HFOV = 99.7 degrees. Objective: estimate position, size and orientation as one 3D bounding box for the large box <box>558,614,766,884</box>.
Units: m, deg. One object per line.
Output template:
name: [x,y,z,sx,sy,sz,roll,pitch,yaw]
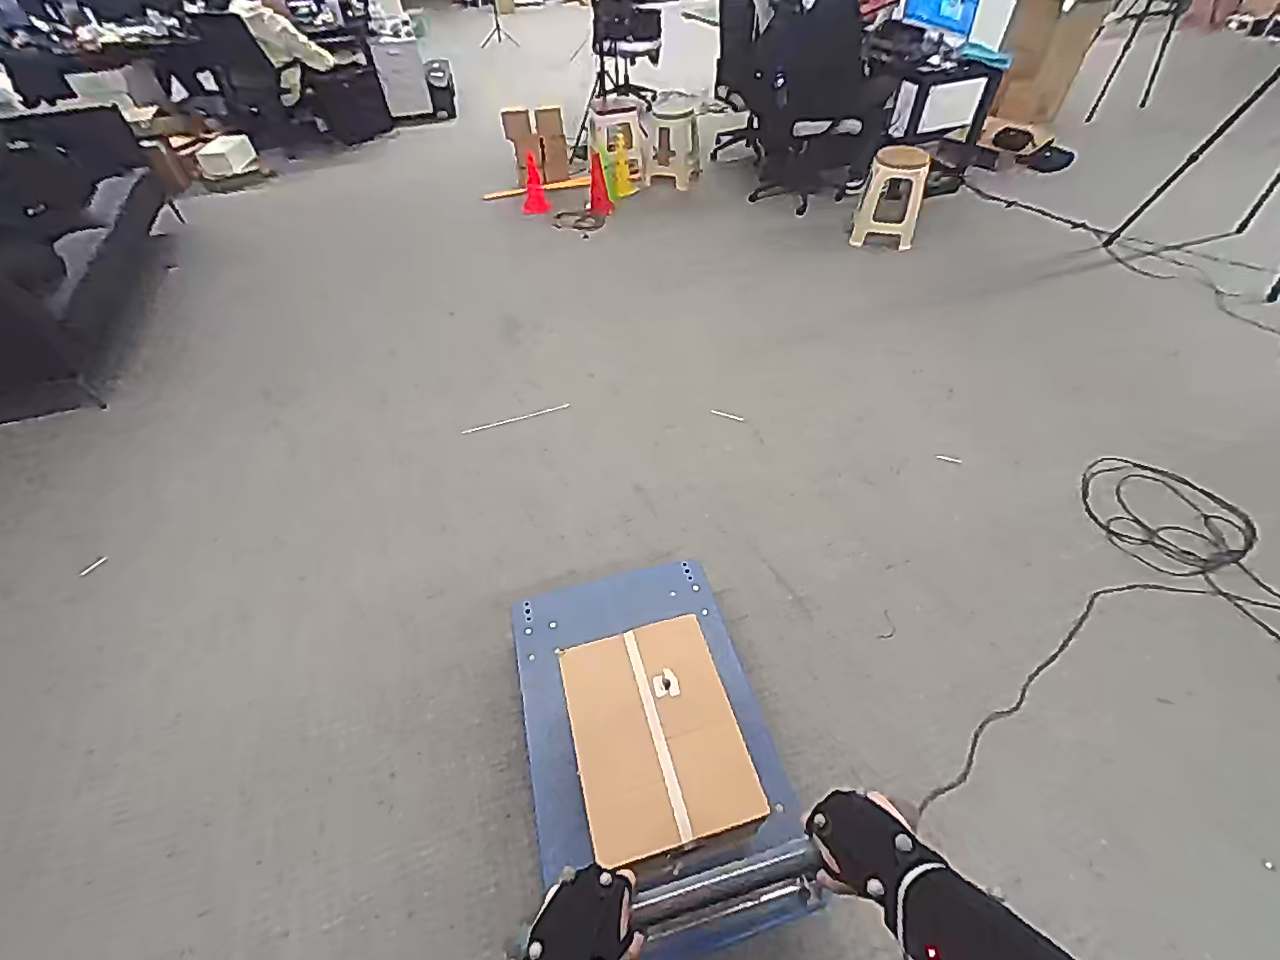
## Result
large box: [0.034,0.575,1.172,0.320,0.320,0.408,-13,49,-9]
